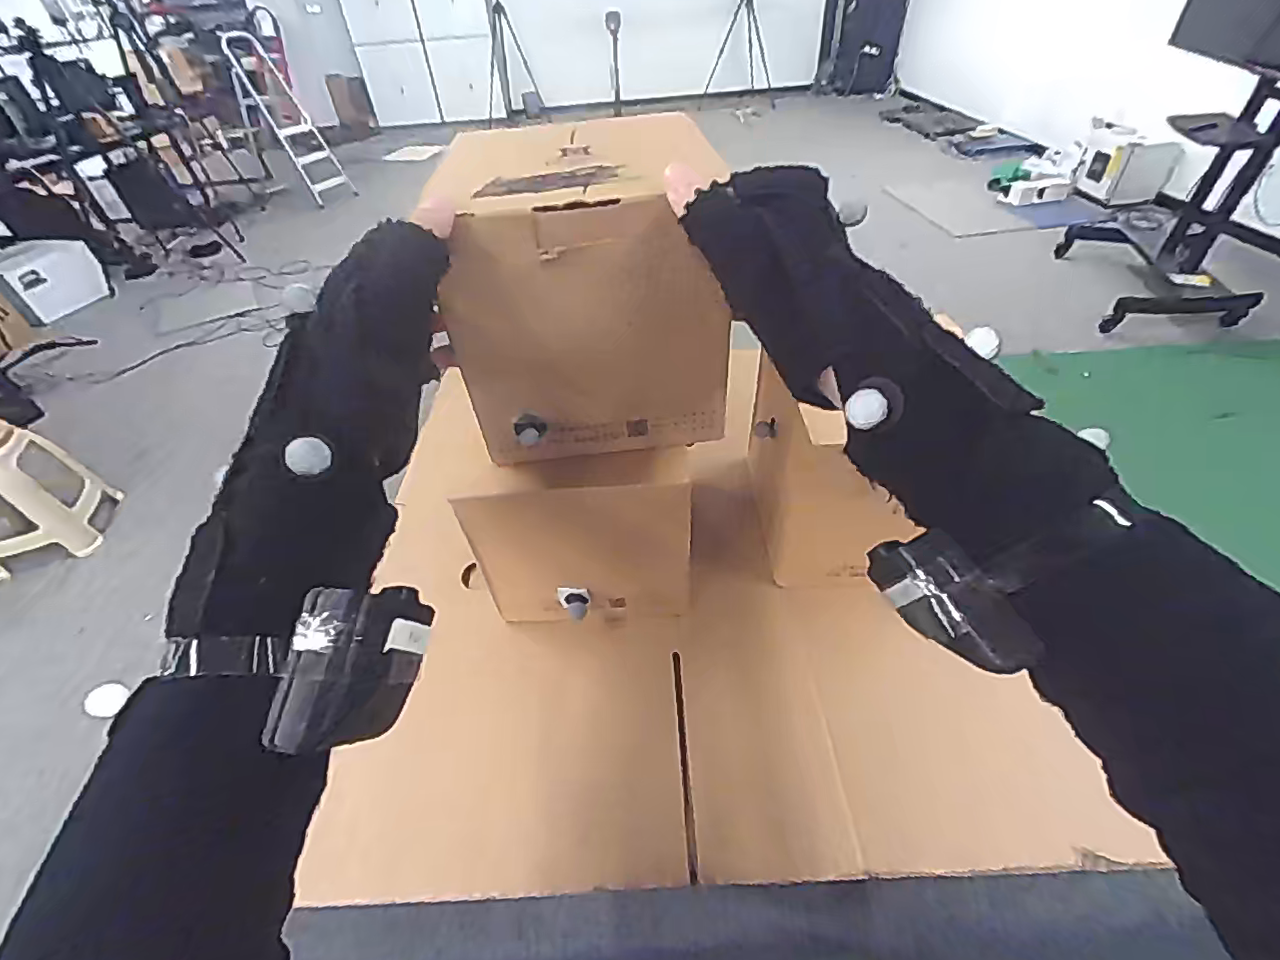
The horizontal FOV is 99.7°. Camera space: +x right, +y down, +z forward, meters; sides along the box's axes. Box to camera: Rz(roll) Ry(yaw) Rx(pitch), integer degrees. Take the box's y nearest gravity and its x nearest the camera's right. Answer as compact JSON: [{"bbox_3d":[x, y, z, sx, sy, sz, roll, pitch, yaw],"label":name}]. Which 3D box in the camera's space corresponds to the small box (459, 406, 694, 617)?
[{"bbox_3d":[-0.043,0.002,0.486,0.168,0.176,0.179,-4,46,1],"label":"small box"}]

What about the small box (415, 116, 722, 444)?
[{"bbox_3d":[-0.036,-0.139,0.392,0.168,0.176,0.179,-6,44,-1],"label":"small box"}]

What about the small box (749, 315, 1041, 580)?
[{"bbox_3d":[0.197,-0.030,0.487,0.168,0.176,0.179,-2,44,2],"label":"small box"}]
